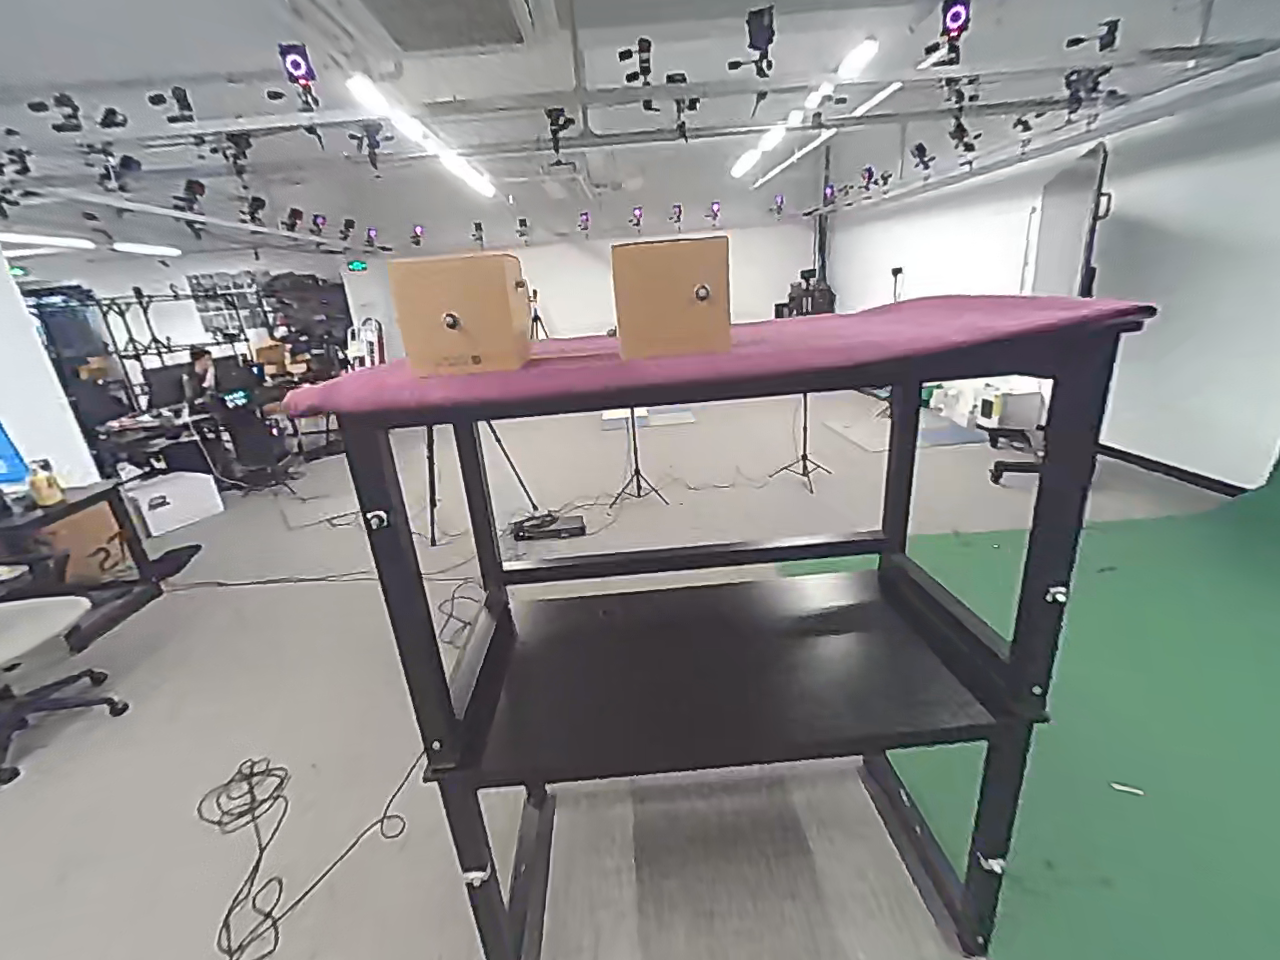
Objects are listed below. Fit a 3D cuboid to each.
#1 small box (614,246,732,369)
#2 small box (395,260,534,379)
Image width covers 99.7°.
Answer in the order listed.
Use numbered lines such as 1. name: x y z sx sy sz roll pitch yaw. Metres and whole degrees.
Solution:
1. small box: 0.050 -0.283 0.892 0.179 0.176 0.168 -6 18 -2
2. small box: -0.270 -0.258 0.878 0.168 0.176 0.179 -4 19 -2
